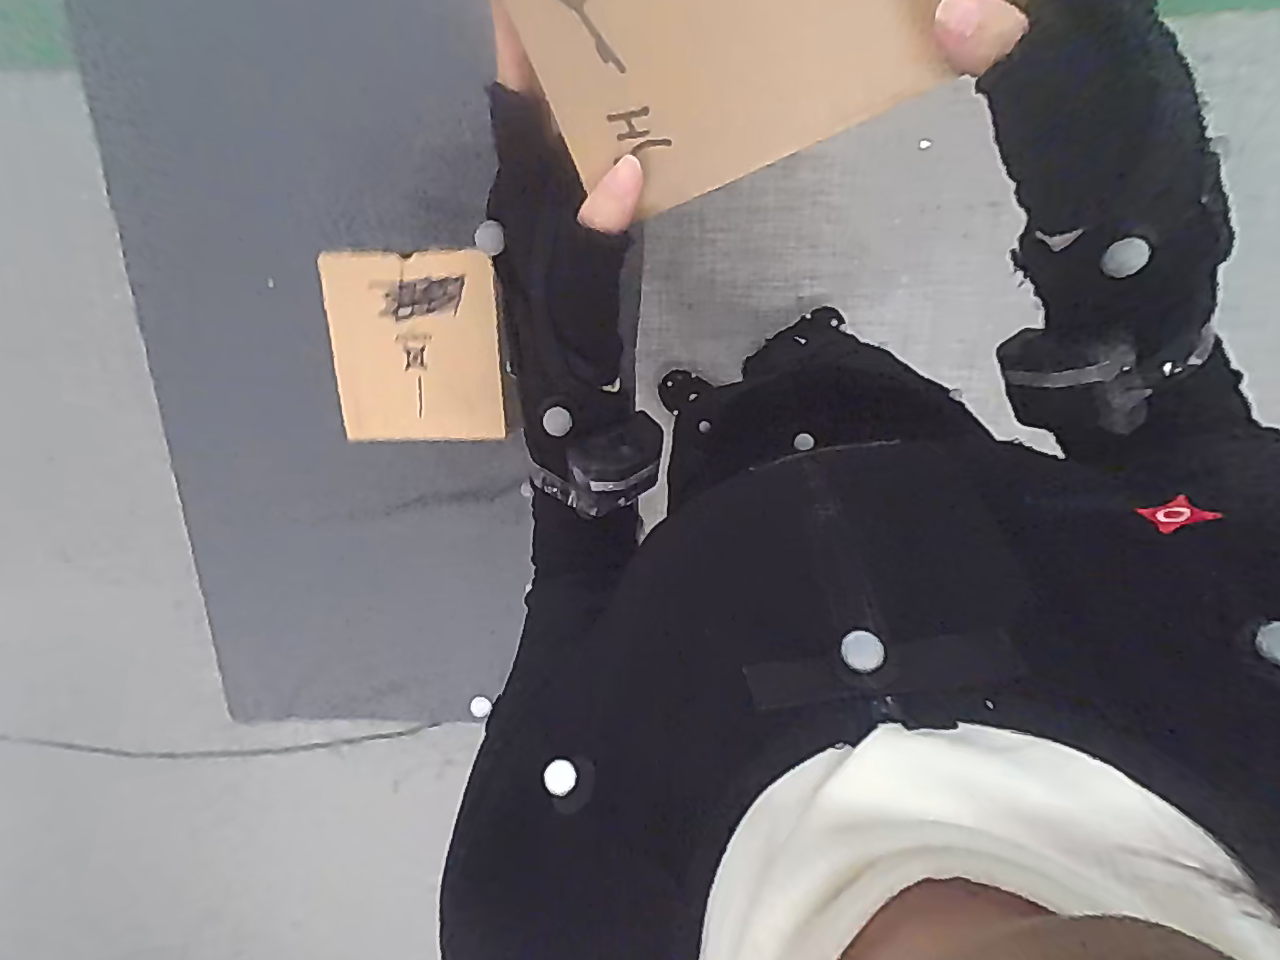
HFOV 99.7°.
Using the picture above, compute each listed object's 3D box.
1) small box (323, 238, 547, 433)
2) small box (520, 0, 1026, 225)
[{"bbox_3d":[-0.207,-0.152,0.596,0.168,0.176,0.179,-3,103,5],"label":"small box"},{"bbox_3d":[0.033,-0.246,0.228,0.179,0.176,0.168,-17,132,11],"label":"small box"}]
